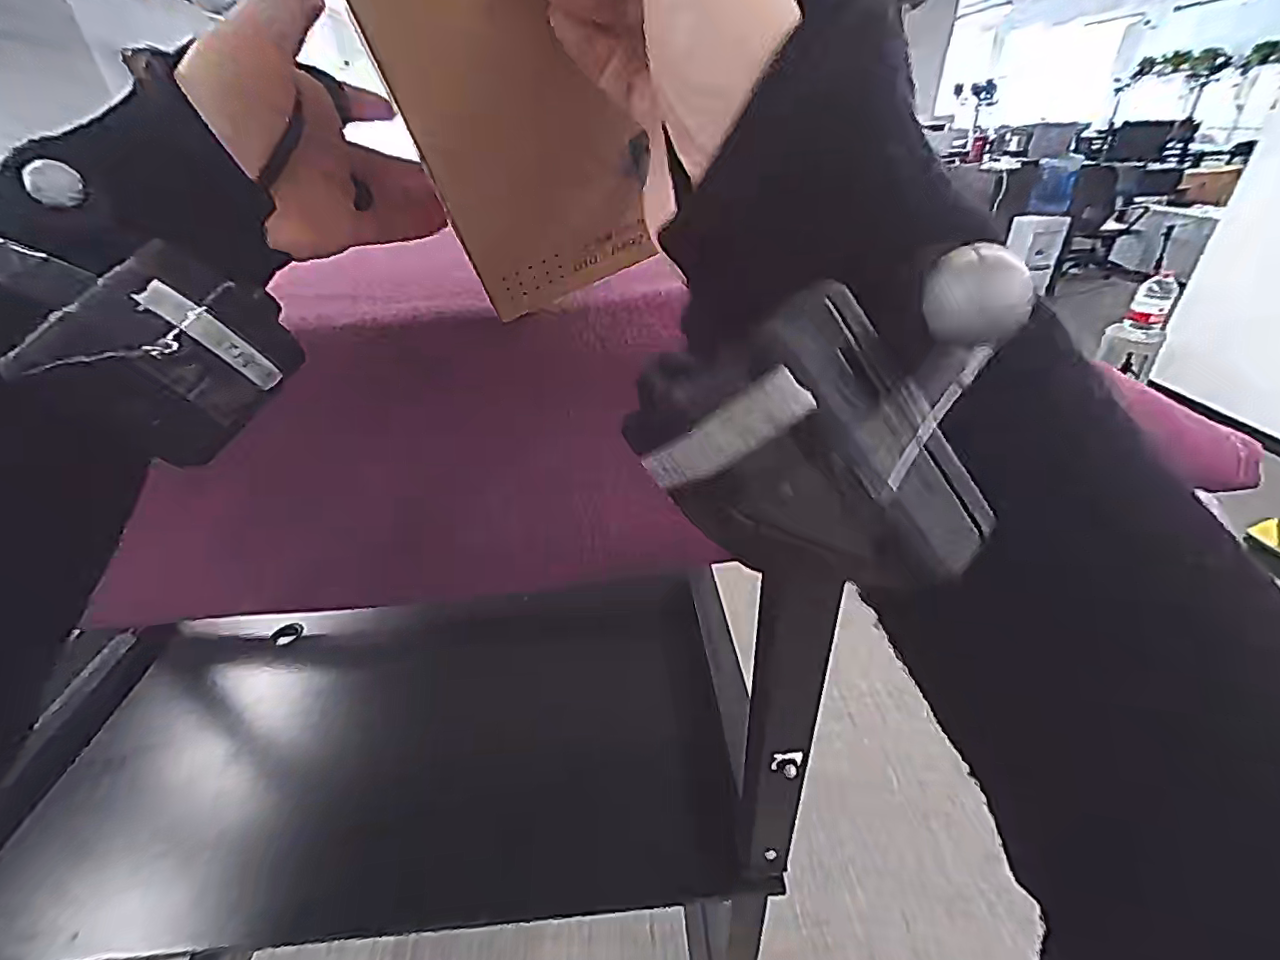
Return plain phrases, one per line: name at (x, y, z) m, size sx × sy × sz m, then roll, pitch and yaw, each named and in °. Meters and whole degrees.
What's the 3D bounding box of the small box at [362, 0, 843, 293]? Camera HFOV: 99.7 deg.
small box at (-0.032, -0.217, 0.224) m, size 0.168 × 0.176 × 0.179 m, roll -25°, pitch 68°, yaw -6°
